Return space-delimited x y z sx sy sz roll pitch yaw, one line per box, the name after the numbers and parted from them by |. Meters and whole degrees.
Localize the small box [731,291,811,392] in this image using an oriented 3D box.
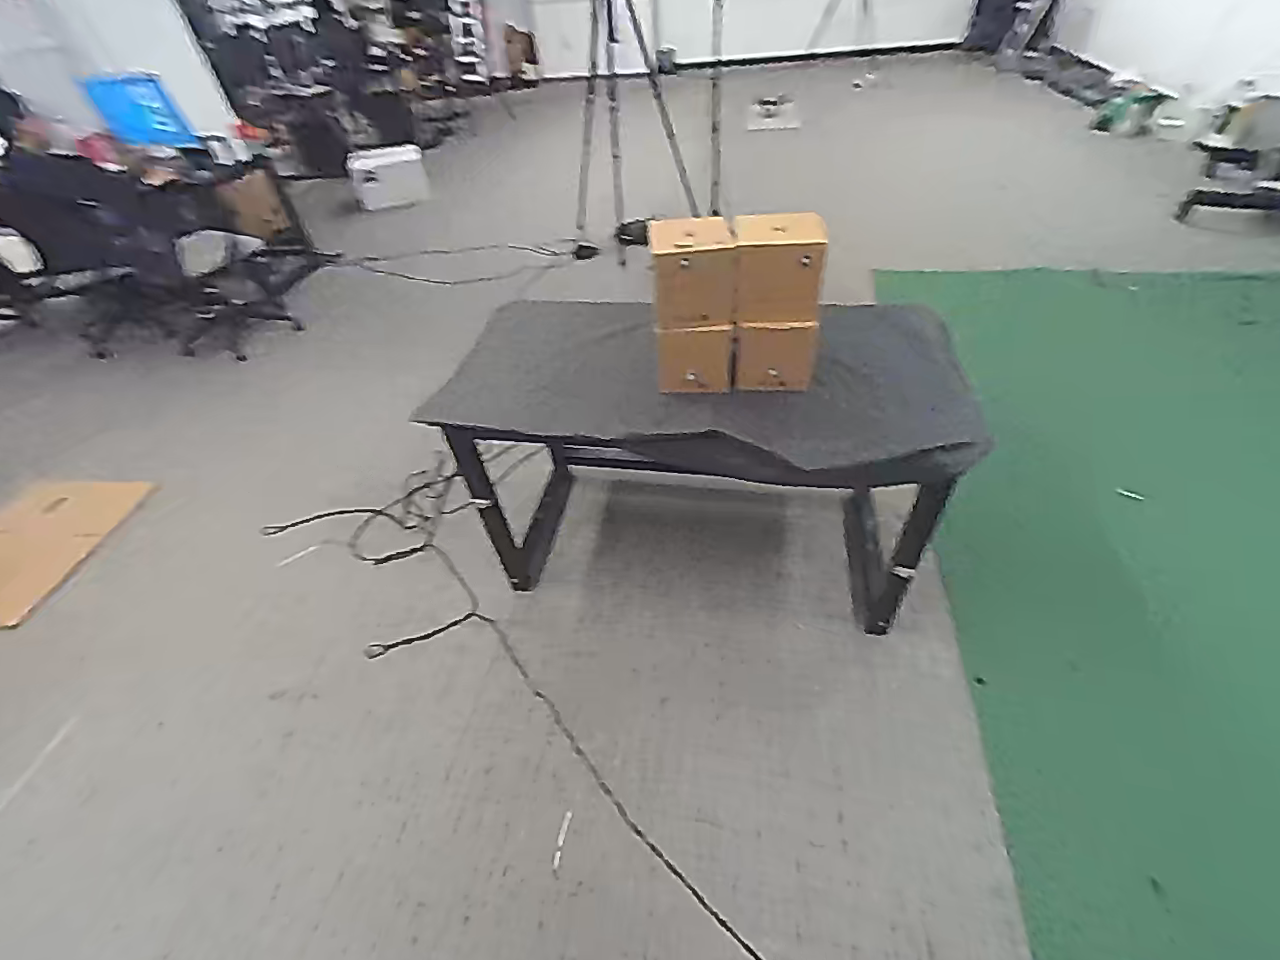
0.300 -0.324 1.264 0.168 0.176 0.179 1 45 9 | small box
